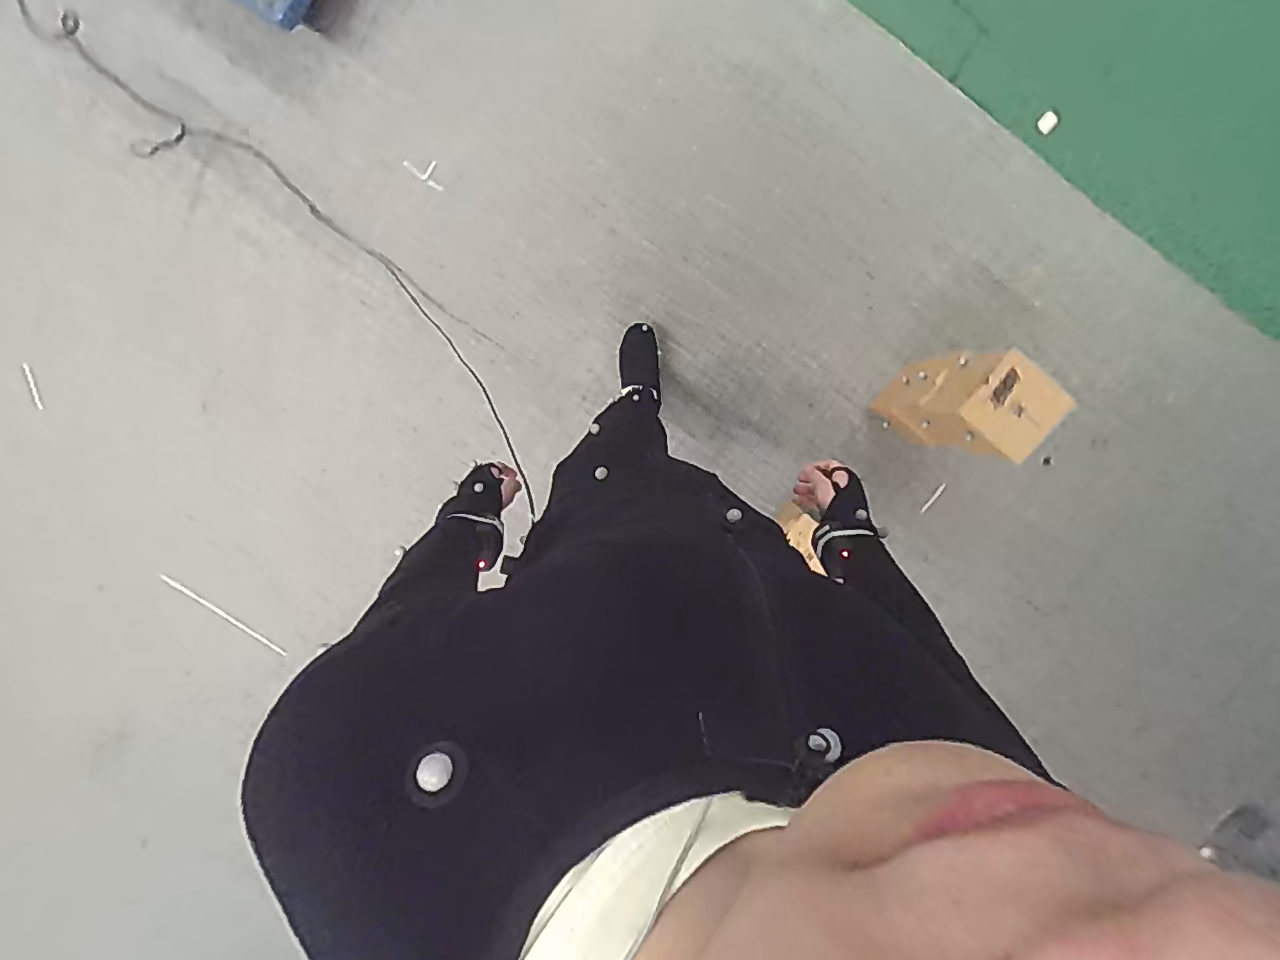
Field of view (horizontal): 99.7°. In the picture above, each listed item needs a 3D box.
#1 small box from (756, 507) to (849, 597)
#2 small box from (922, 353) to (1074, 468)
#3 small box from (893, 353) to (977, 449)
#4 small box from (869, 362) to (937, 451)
[{"bbox_3d":[0.460,0.199,1.558,0.168,0.176,0.179,-42,94,6],"label":"small box"},{"bbox_3d":[0.755,-0.147,1.164,0.179,0.176,0.168,39,98,-4],"label":"small box"},{"bbox_3d":[0.762,-0.184,1.325,0.179,0.176,0.168,41,98,-2],"label":"small box"},{"bbox_3d":[0.769,-0.202,1.487,0.168,0.176,0.179,41,98,-3],"label":"small box"}]
